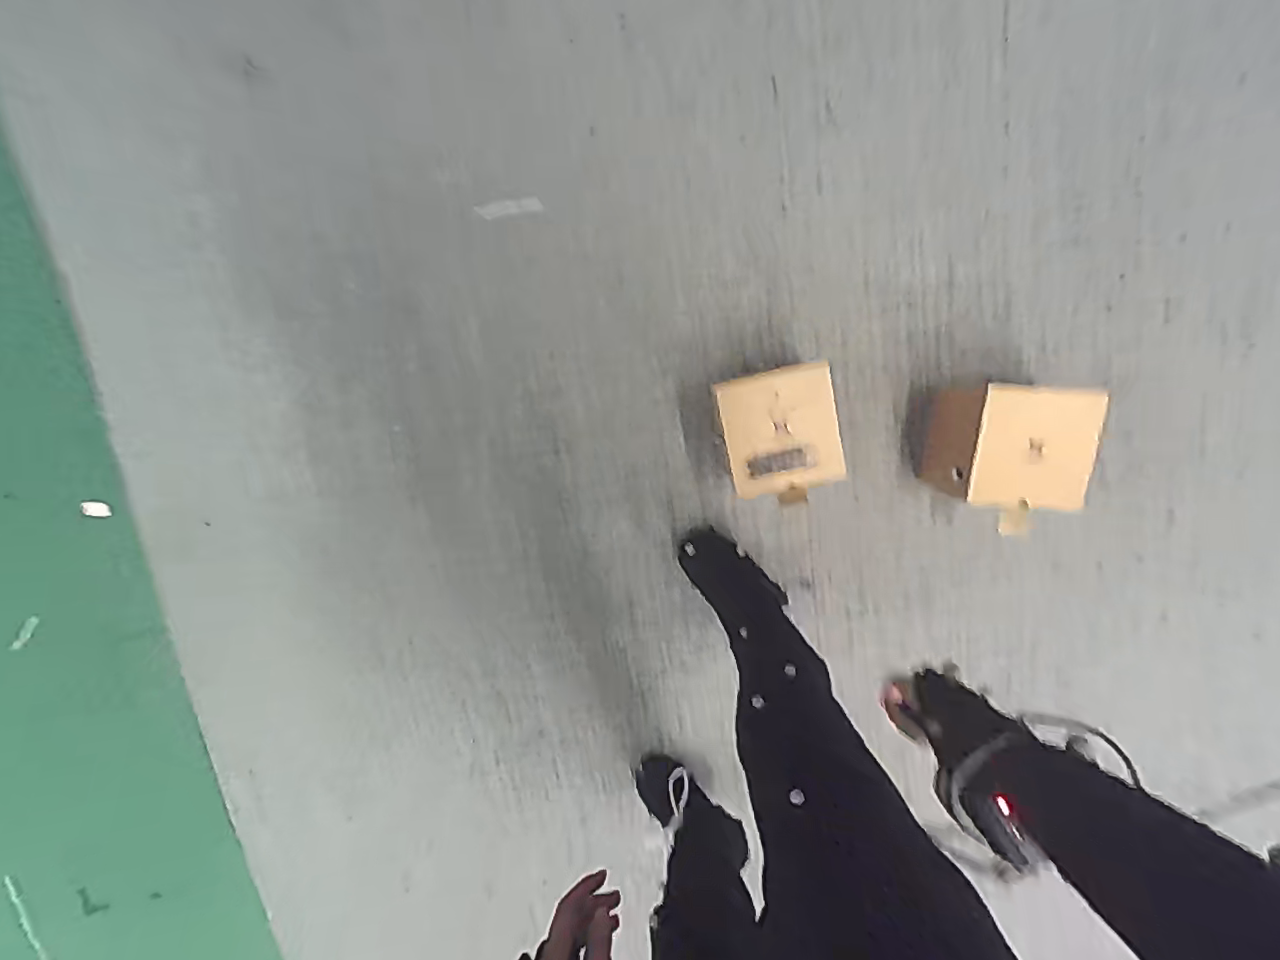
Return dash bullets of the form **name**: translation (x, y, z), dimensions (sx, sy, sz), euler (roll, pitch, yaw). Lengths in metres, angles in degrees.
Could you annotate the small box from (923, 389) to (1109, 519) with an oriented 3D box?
- **small box**: translation (0.572, -0.049, 0.849), dimensions (0.168, 0.176, 0.179), euler (4, 102, 3)
